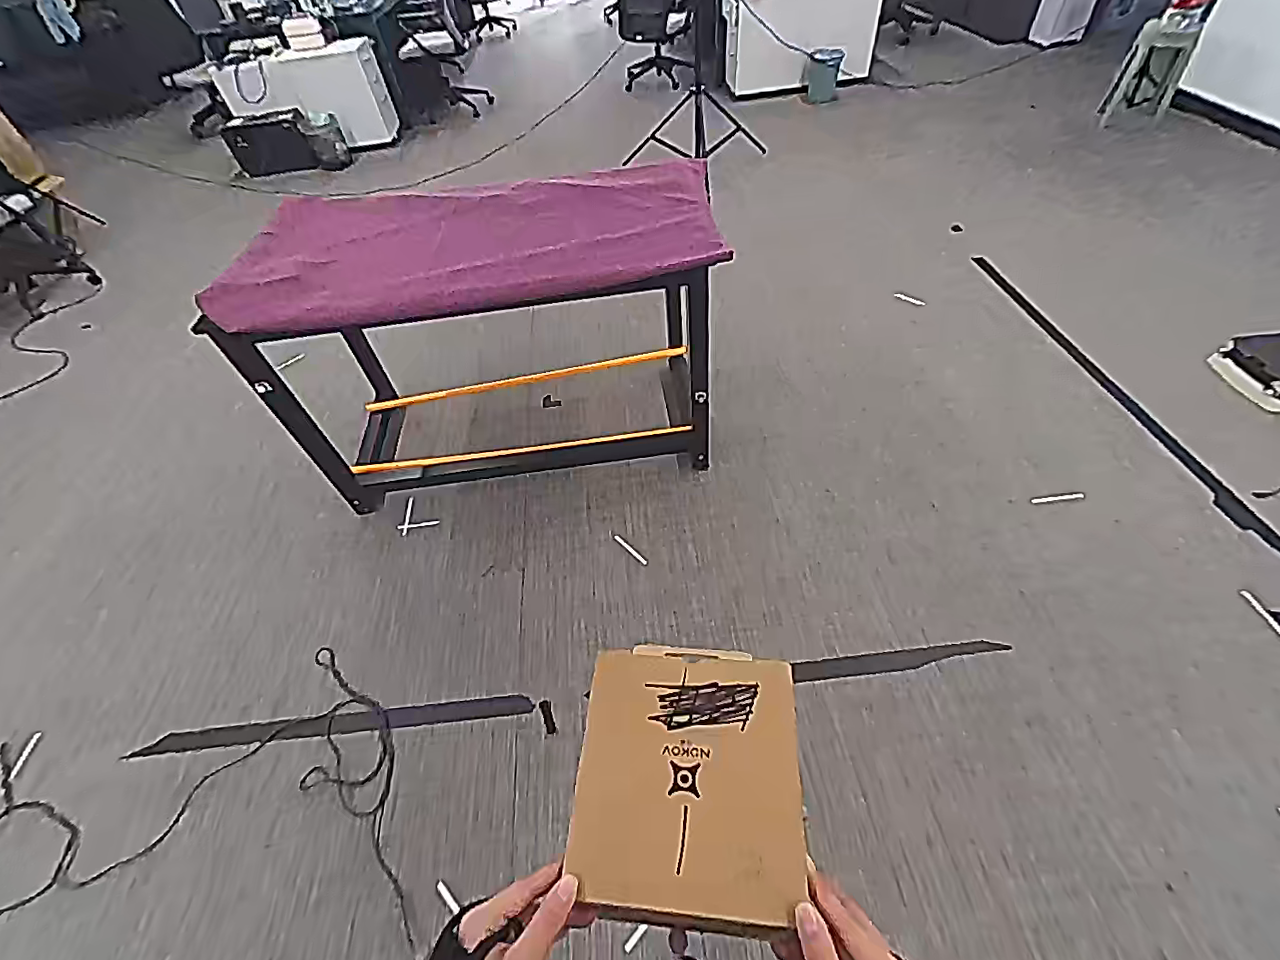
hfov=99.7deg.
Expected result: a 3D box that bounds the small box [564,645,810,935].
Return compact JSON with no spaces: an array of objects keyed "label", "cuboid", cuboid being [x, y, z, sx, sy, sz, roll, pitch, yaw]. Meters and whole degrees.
[{"label":"small box","cuboid":[0.044,0.265,0.467,0.168,0.176,0.179,1,48,8]}]
